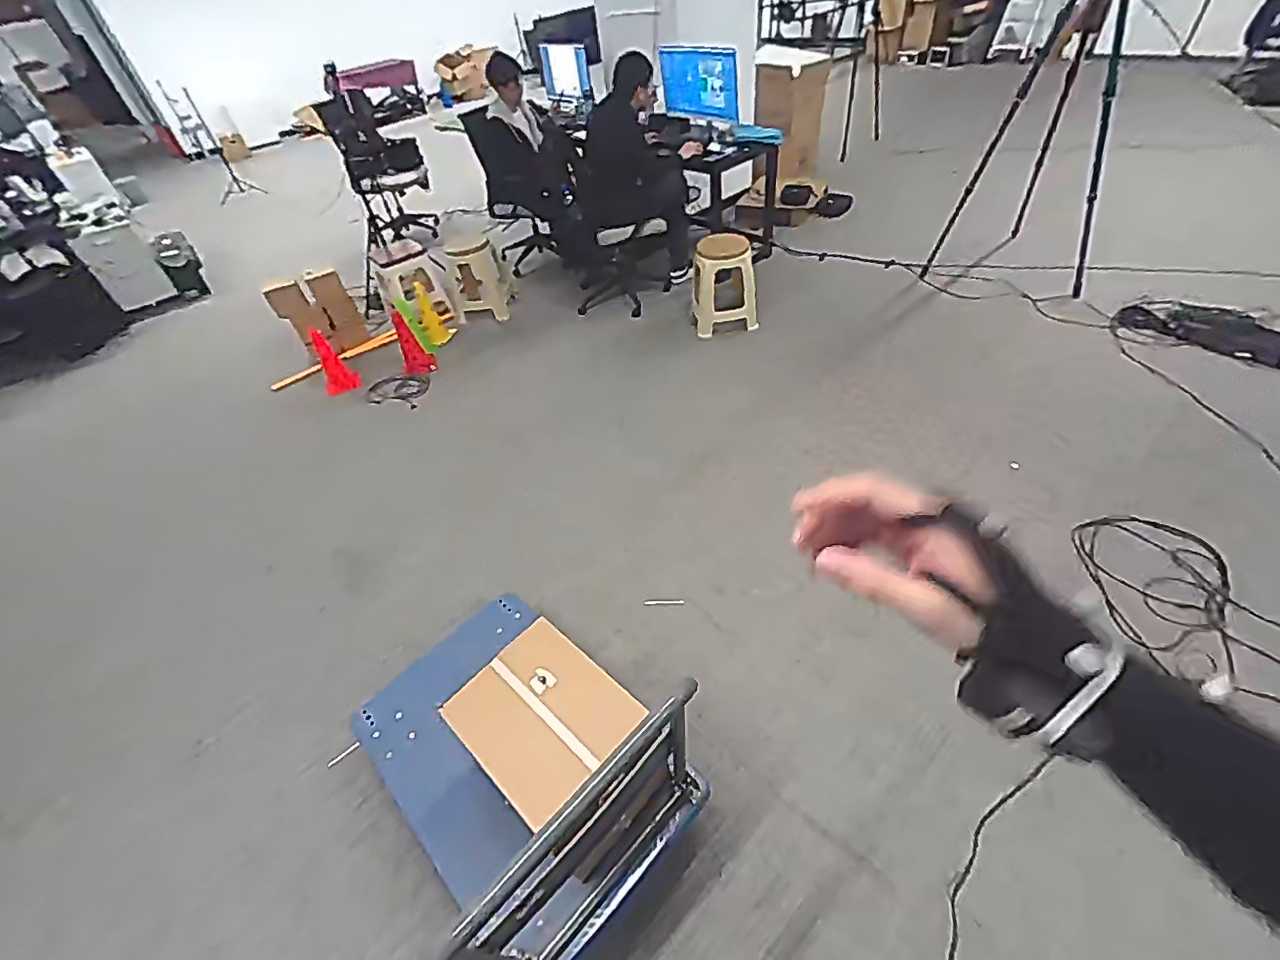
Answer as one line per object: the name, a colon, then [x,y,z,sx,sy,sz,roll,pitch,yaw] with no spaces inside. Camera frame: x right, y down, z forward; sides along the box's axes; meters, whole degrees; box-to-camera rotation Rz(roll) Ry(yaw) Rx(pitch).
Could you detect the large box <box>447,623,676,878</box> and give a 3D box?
large box: [-0.171,0.629,1.284,0.408,0.320,0.320,30,56,34]
